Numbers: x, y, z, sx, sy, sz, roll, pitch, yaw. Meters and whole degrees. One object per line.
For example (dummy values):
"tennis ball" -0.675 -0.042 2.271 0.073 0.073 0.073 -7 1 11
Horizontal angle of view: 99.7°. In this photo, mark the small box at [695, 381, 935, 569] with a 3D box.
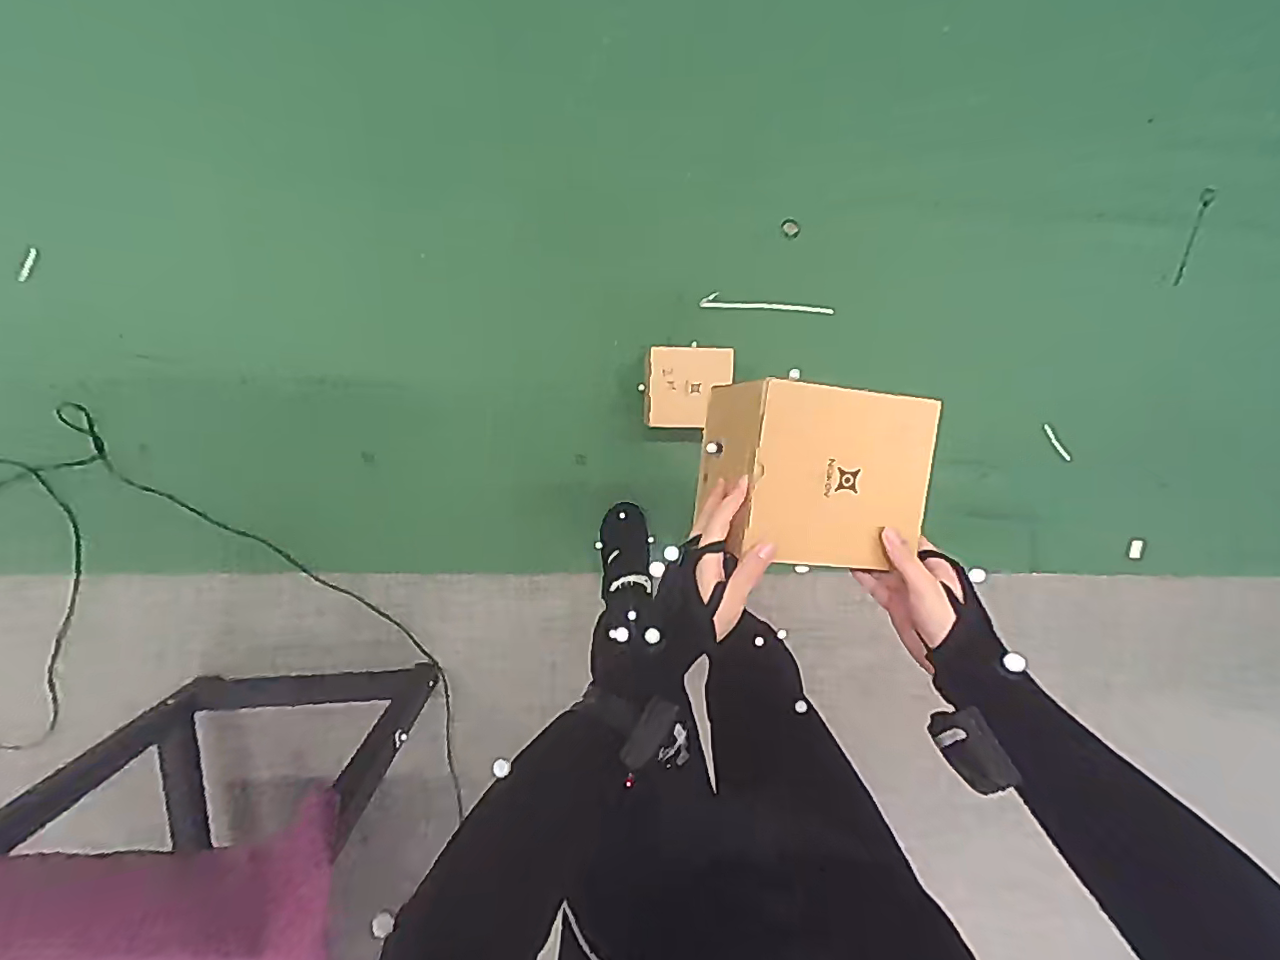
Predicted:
"small box" 0.171 -0.011 0.578 0.179 0.176 0.168 5 96 -9

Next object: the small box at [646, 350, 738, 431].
"small box" 0.109 -0.196 1.204 0.179 0.176 0.168 1 97 -3
